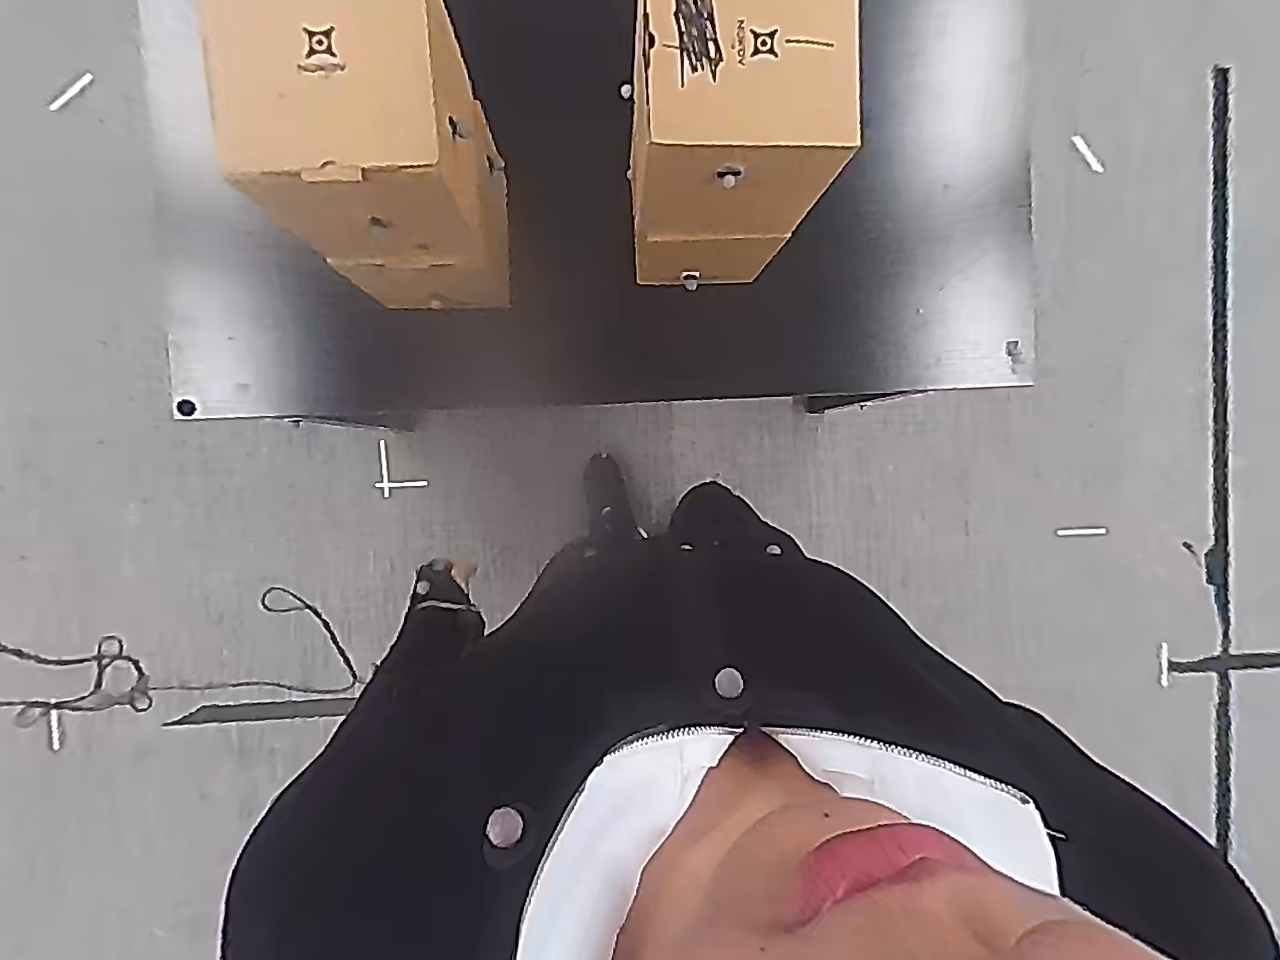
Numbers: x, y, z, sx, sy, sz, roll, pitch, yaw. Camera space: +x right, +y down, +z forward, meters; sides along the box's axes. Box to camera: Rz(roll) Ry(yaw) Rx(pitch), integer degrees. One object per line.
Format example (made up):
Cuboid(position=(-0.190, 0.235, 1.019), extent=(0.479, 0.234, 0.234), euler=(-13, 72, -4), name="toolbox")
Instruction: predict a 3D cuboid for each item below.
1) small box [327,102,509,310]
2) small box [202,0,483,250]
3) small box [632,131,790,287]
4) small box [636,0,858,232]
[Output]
Cuboid(position=(-0.255, -0.318, 0.653), extent=(0.168, 0.176, 0.179), euler=(-1, 92, -4), name="small box")
Cuboid(position=(-0.245, -0.321, 0.489), extent=(0.168, 0.176, 0.179), euler=(-4, 93, -4), name="small box")
Cuboid(position=(0.079, -0.358, 0.679), extent=(0.168, 0.176, 0.179), euler=(-4, 93, -3), name="small box")
Cuboid(position=(0.086, -0.352, 0.514), extent=(0.179, 0.176, 0.168), euler=(-2, 92, -4), name="small box")
